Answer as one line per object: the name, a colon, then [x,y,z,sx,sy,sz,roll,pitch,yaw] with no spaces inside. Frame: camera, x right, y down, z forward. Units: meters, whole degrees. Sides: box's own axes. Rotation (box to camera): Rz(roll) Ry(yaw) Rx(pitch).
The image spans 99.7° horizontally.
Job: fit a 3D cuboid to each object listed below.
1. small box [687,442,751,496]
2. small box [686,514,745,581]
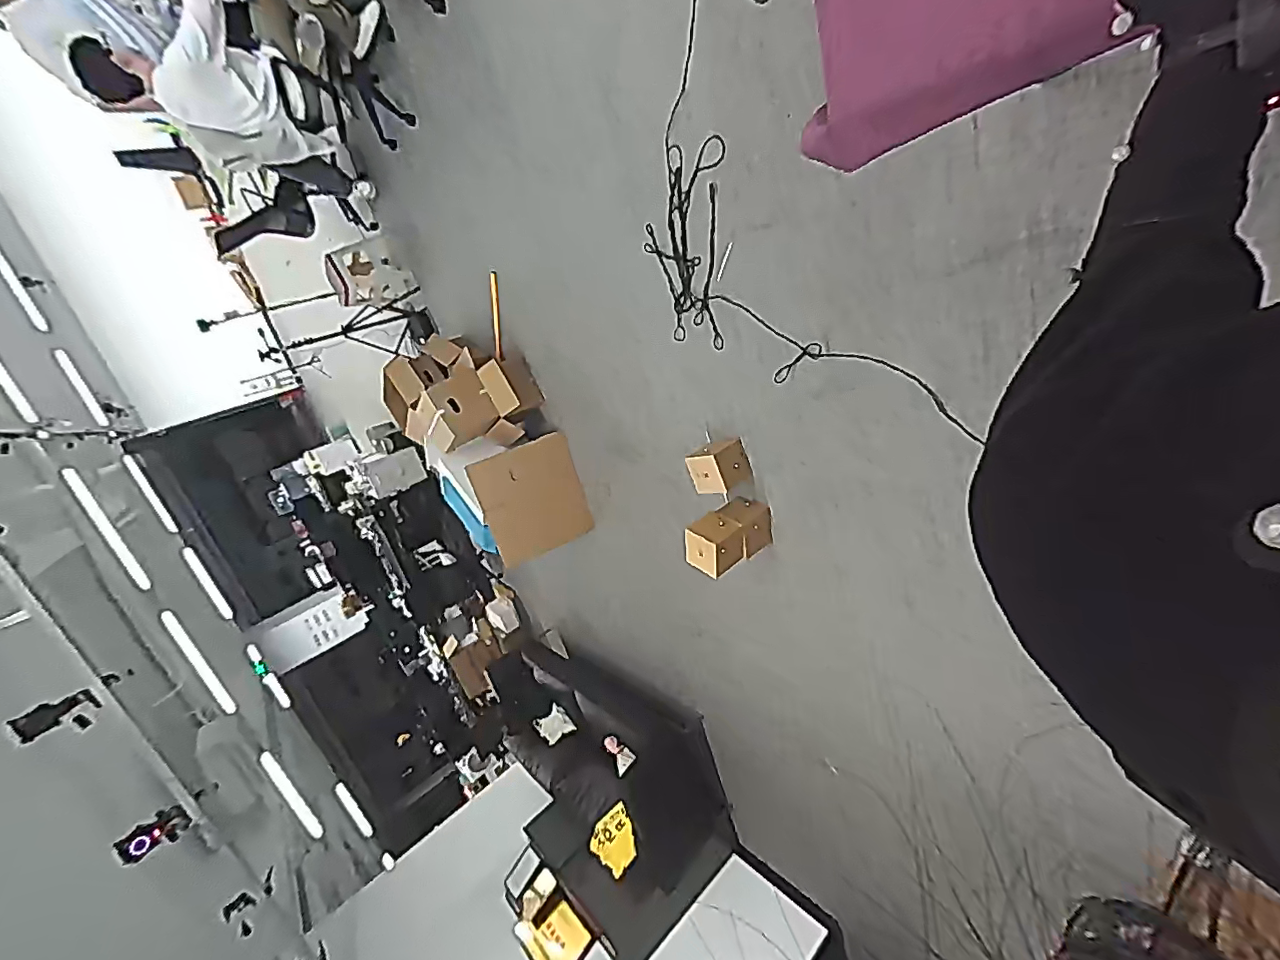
small box: [0.328,-0.046,2.195,0.179,0.176,0.168,-3,112,56]
small box: [0.305,0.267,2.173,0.168,0.176,0.179,27,134,42]
